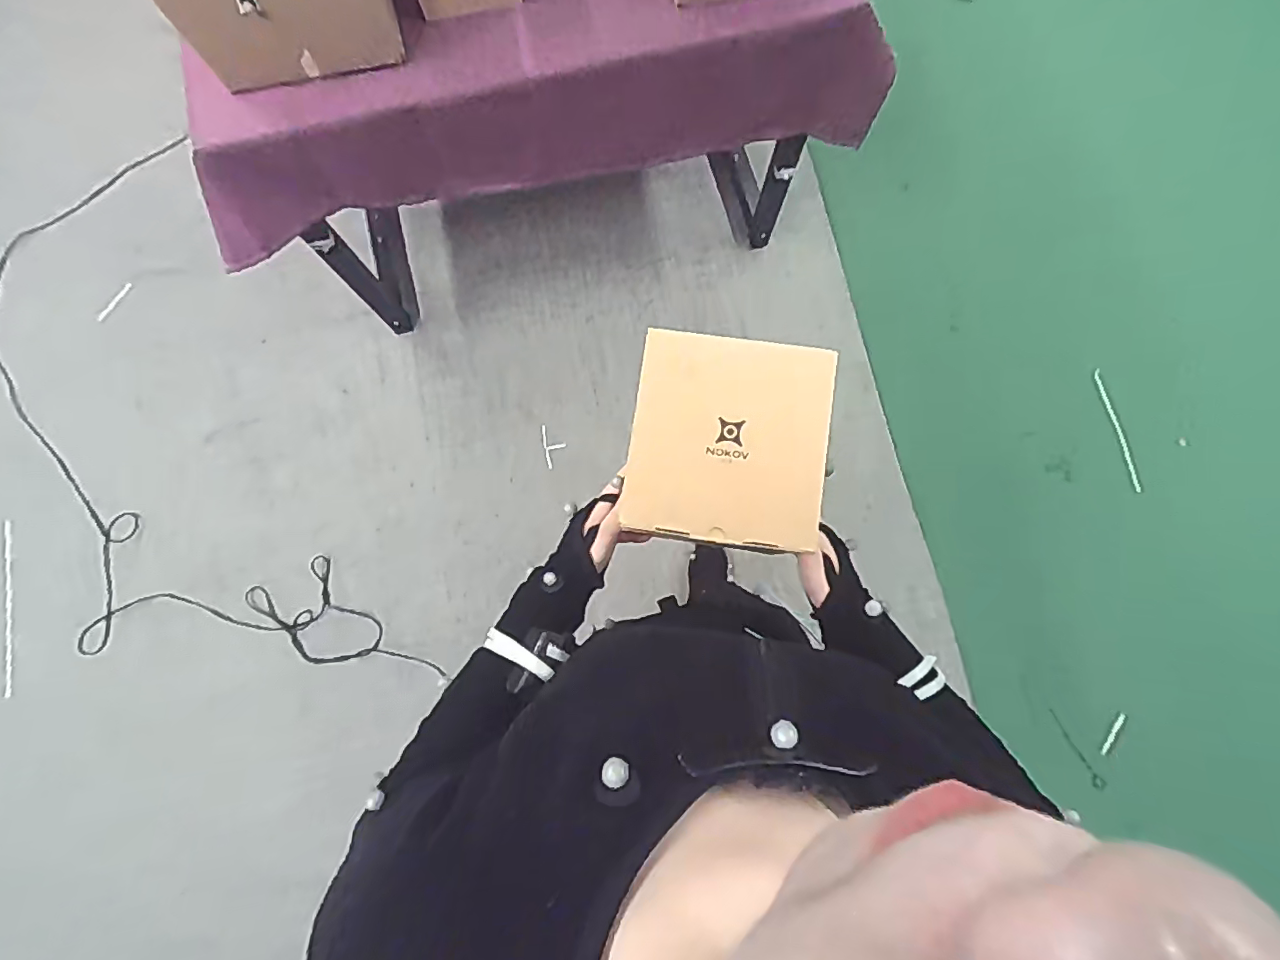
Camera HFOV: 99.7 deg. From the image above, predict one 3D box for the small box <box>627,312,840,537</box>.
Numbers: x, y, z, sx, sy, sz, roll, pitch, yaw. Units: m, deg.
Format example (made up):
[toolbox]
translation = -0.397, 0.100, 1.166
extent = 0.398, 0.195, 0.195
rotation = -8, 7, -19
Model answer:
[small box]
translation = 0.082, -0.041, 0.538
extent = 0.168, 0.176, 0.179
rotation = 8, 84, 2
